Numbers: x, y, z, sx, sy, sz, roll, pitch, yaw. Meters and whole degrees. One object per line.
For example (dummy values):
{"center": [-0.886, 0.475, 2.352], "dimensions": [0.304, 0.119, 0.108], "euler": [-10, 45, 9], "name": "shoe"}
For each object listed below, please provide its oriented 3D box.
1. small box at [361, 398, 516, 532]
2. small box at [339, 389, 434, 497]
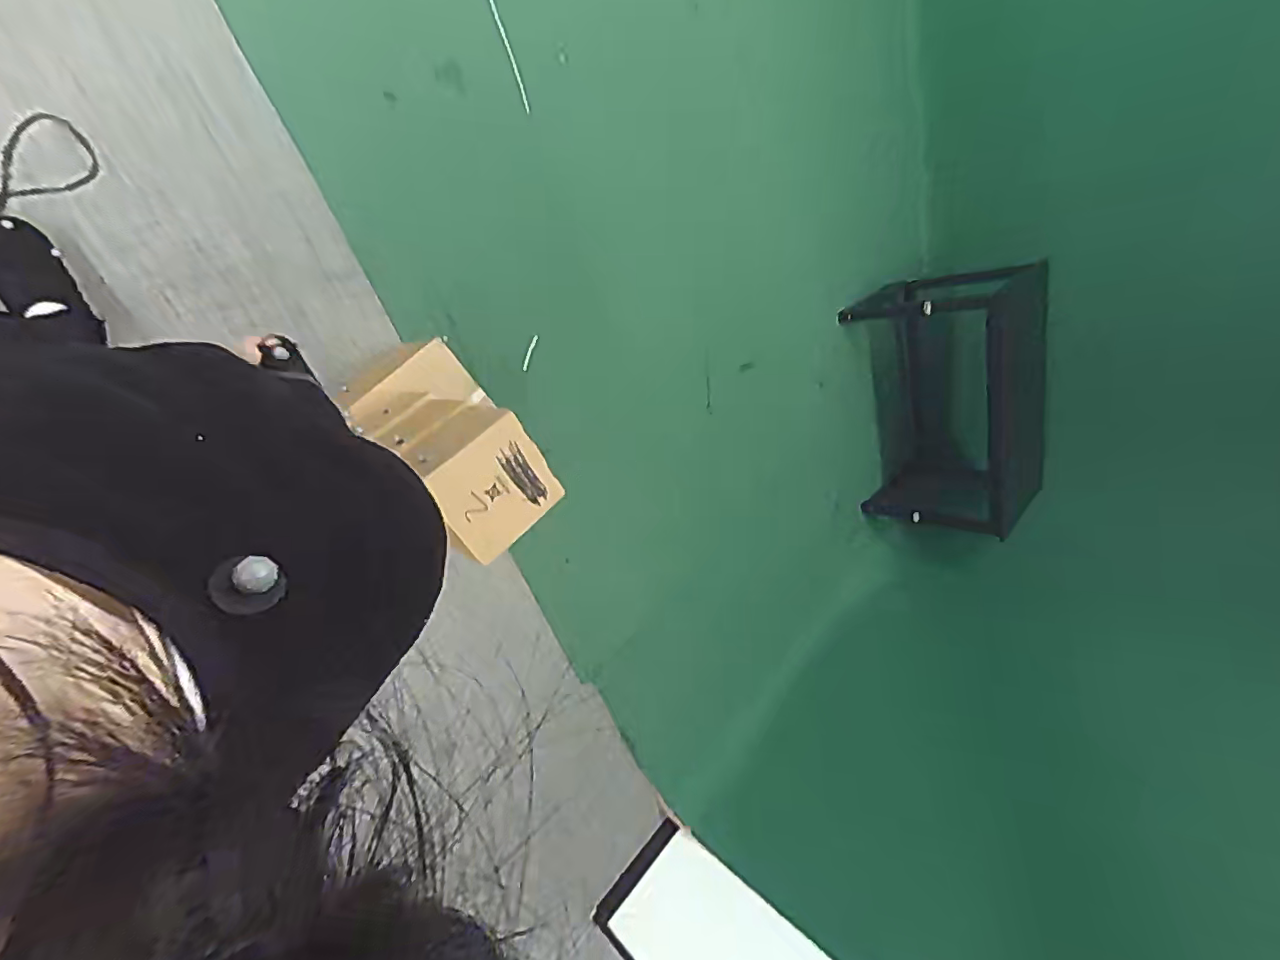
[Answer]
{"center": [-0.366, -0.037, 0.978], "dimensions": [0.179, 0.176, 0.168], "euler": [-43, 123, -26], "name": "small box"}
{"center": [-0.473, -0.067, 1.096], "dimensions": [0.168, 0.176, 0.179], "euler": [-45, 124, -26], "name": "small box"}
